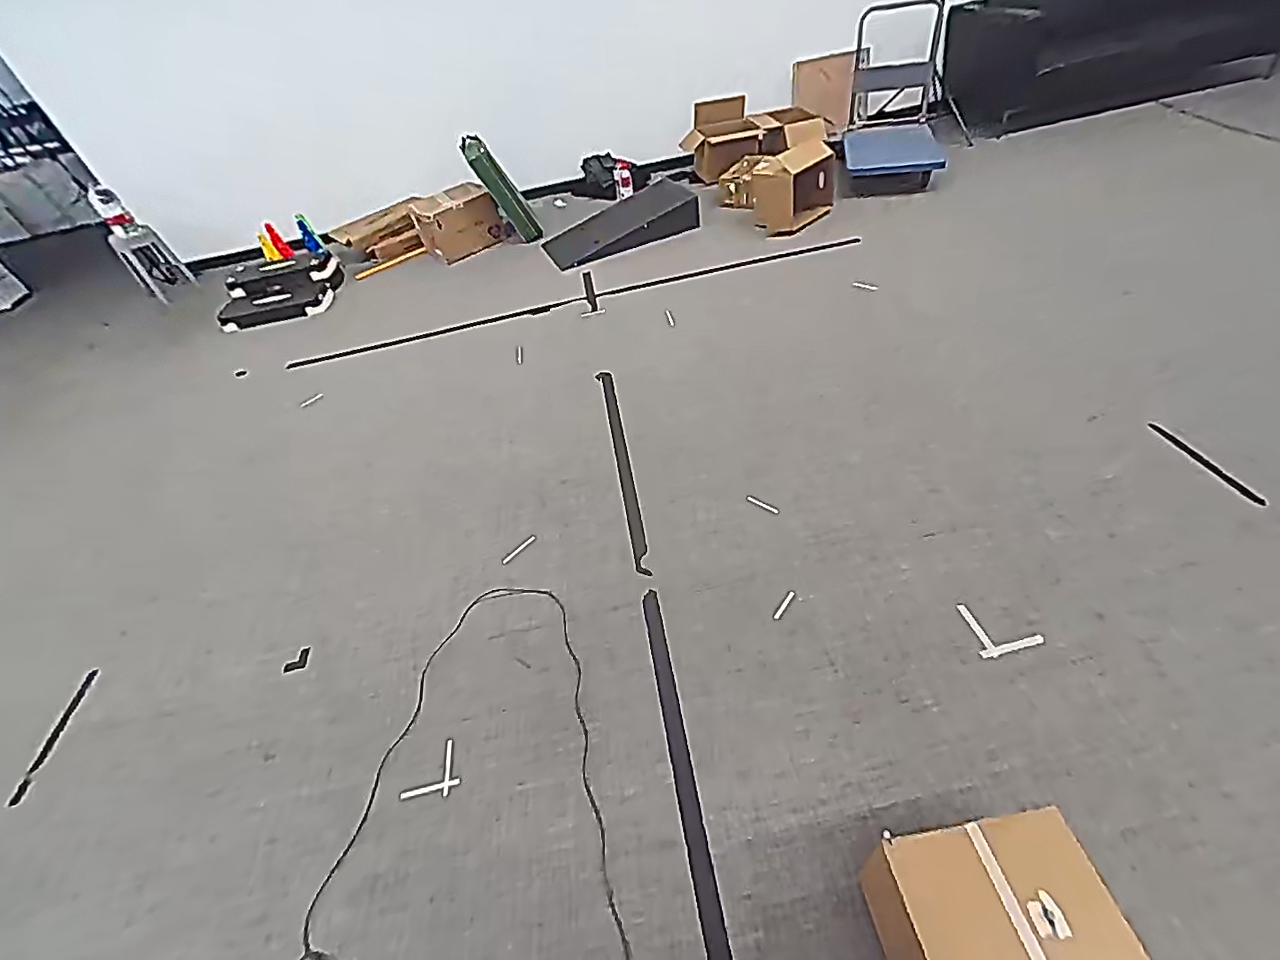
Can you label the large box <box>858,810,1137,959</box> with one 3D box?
[{"bbox_3d":[0.618,0.851,0.915,0.320,0.320,0.408,-10,44,-1],"label":"large box"}]
